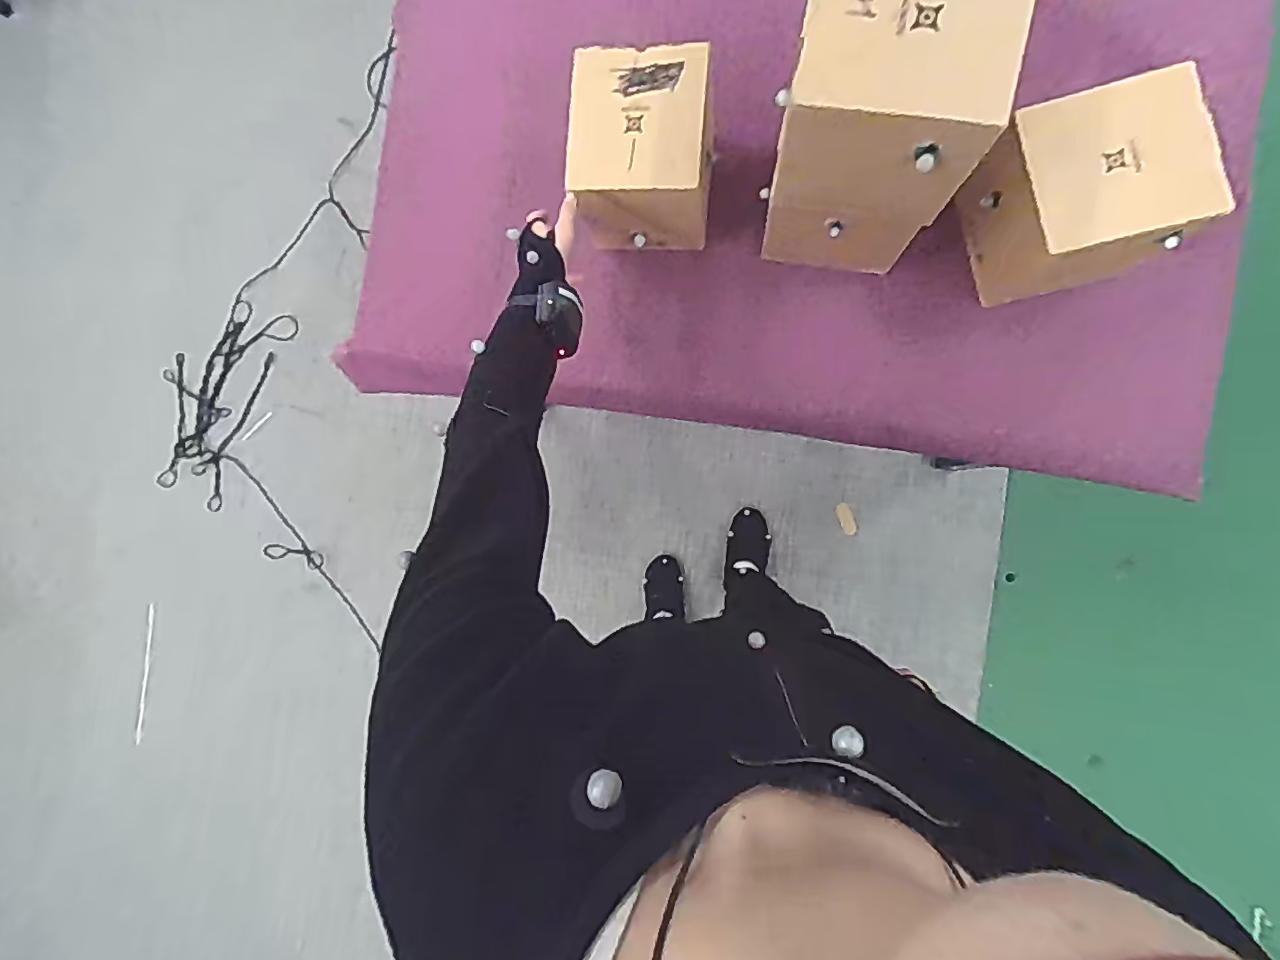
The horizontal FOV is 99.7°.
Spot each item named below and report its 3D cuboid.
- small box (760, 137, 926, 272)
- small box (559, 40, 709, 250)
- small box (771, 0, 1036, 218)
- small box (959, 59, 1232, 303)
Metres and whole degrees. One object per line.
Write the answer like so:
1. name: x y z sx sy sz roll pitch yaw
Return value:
1. small box: 0.255 -0.380 0.676 0.179 0.176 0.168 13 91 8
2. small box: 0.002 -0.429 0.714 0.168 0.176 0.179 5 90 9
3. small box: 0.233 -0.375 0.513 0.179 0.176 0.168 13 91 9
4. small box: 0.505 -0.330 0.636 0.179 0.176 0.168 -12 86 8
